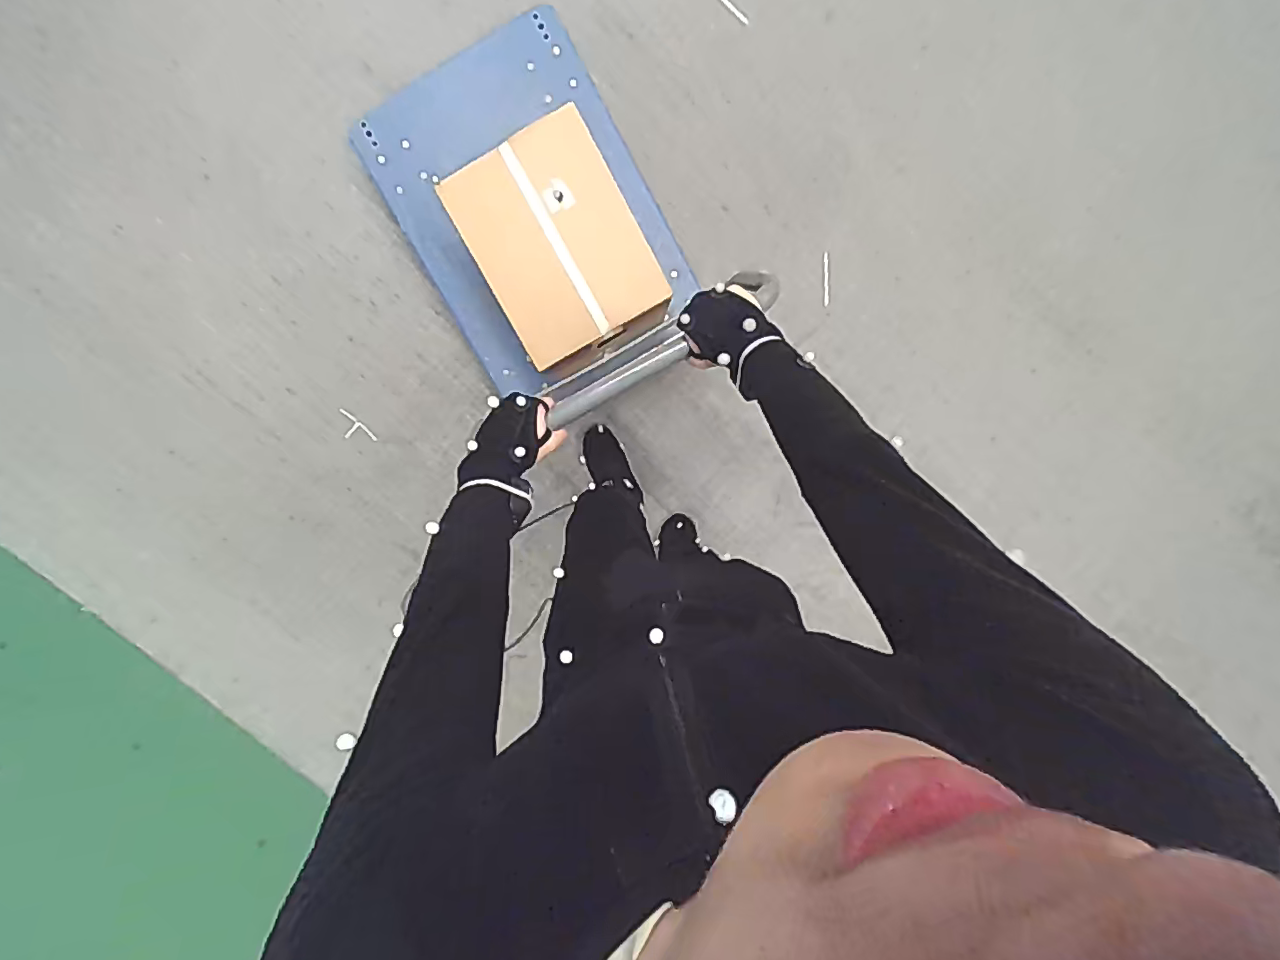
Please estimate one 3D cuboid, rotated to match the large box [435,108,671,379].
[{"bbox_3d":[-0.165,-0.480,1.199,0.320,0.320,0.408,-29,96,2],"label":"large box"}]
